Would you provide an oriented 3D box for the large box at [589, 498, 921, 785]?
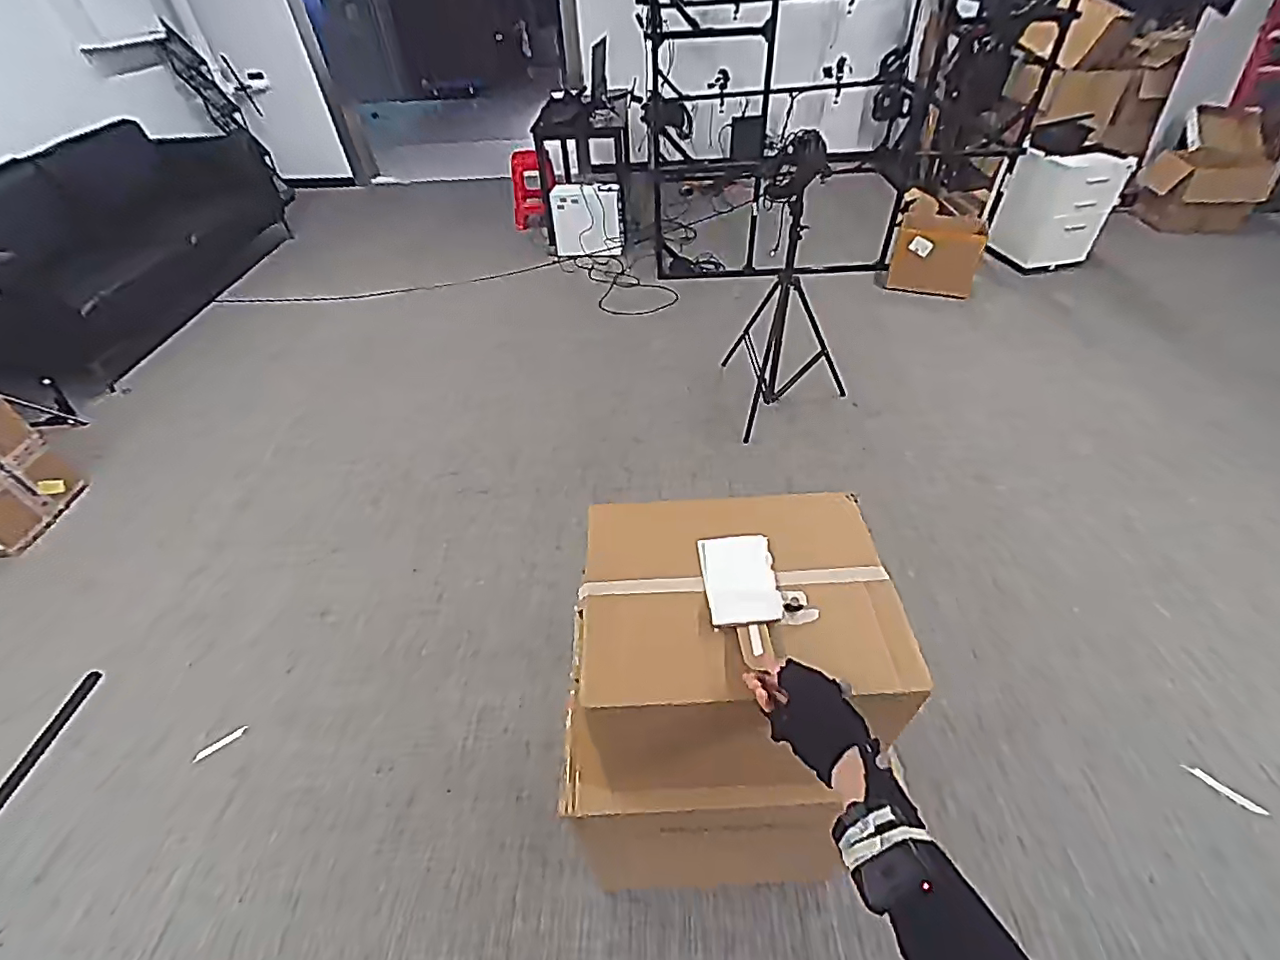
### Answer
[{"bbox_3d":[0.134,0.251,0.844,0.408,0.320,0.320,-3,45,0],"label":"large box"}]
